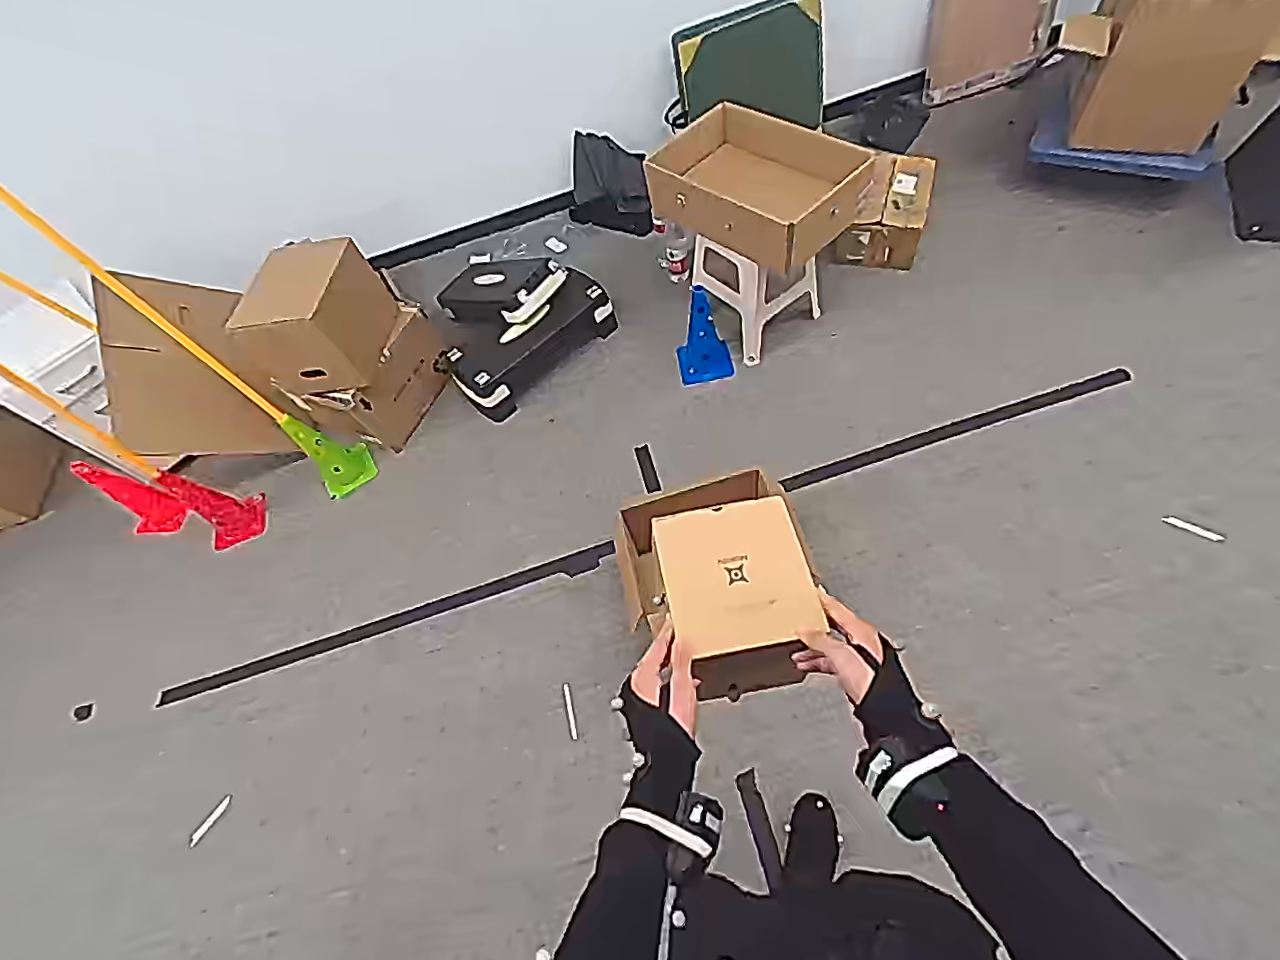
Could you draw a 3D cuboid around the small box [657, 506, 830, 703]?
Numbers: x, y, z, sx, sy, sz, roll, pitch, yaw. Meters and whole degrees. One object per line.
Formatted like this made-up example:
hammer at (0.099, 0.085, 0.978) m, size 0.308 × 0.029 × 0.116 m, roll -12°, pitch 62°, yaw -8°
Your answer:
small box at (0.116, 0.160, 0.690) m, size 0.168 × 0.176 × 0.179 m, roll -10°, pitch 51°, yaw -3°
